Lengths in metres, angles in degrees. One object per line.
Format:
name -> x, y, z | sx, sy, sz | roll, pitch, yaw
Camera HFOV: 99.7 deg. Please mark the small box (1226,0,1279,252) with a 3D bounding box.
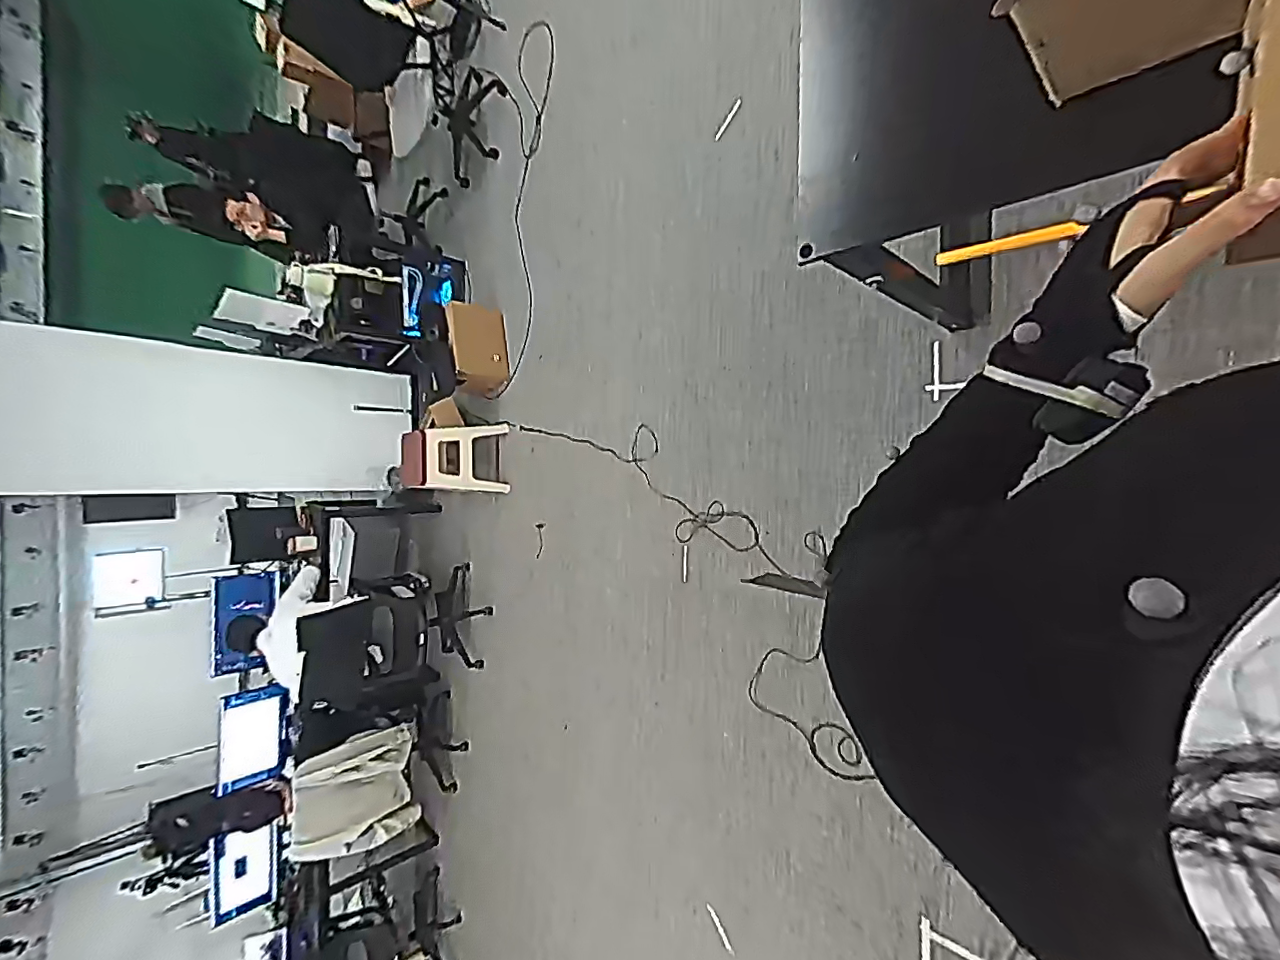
small box -> 0.450, -0.246, 0.294 | 0.168, 0.176, 0.179 | 5, 99, 45
